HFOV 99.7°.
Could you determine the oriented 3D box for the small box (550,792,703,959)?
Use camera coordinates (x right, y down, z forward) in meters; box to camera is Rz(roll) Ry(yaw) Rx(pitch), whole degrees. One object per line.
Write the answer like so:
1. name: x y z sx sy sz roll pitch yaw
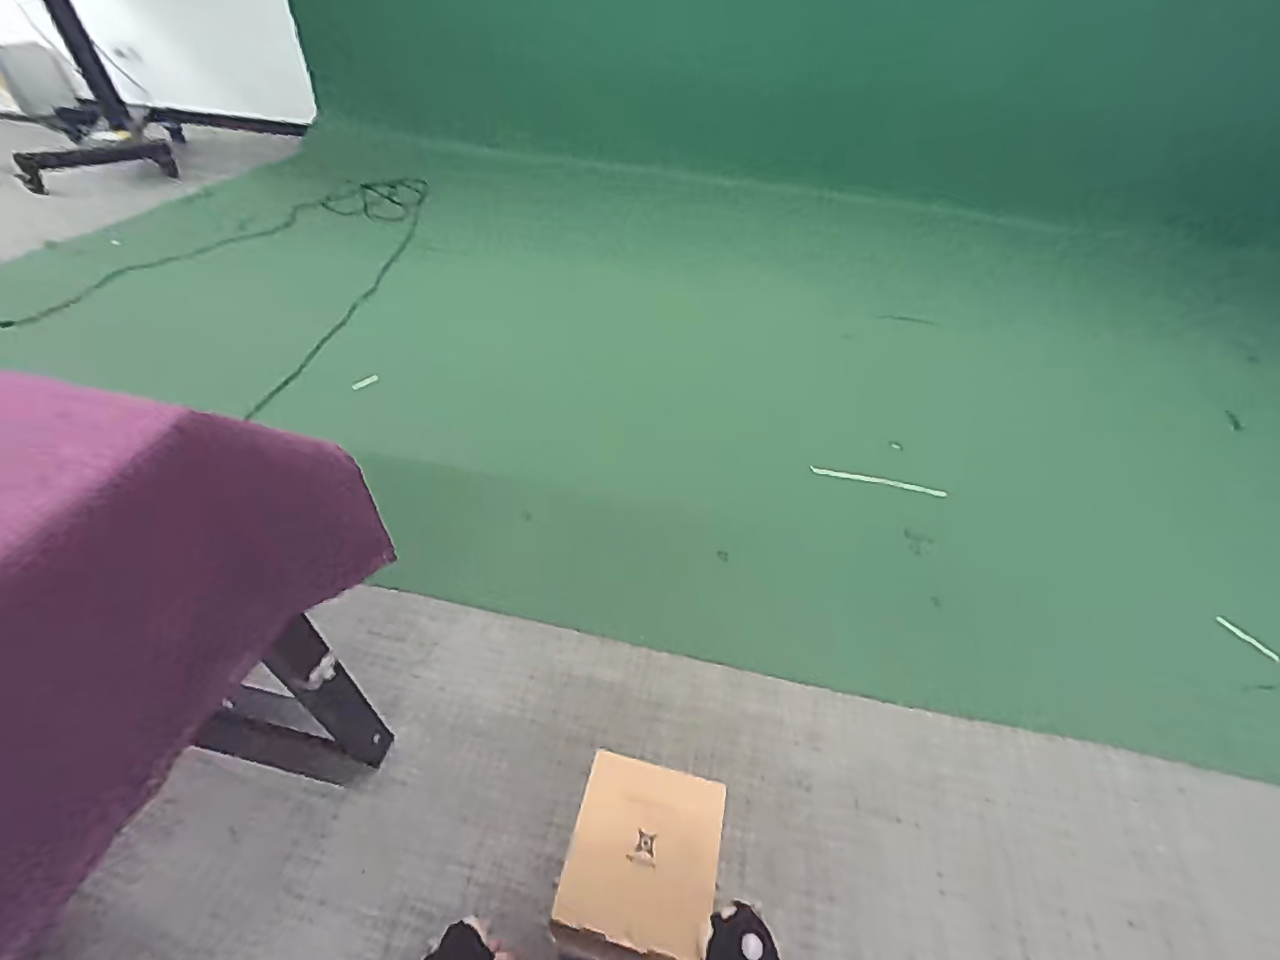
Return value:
1. small box: -0.015 0.590 0.775 0.168 0.176 0.179 14 45 9
